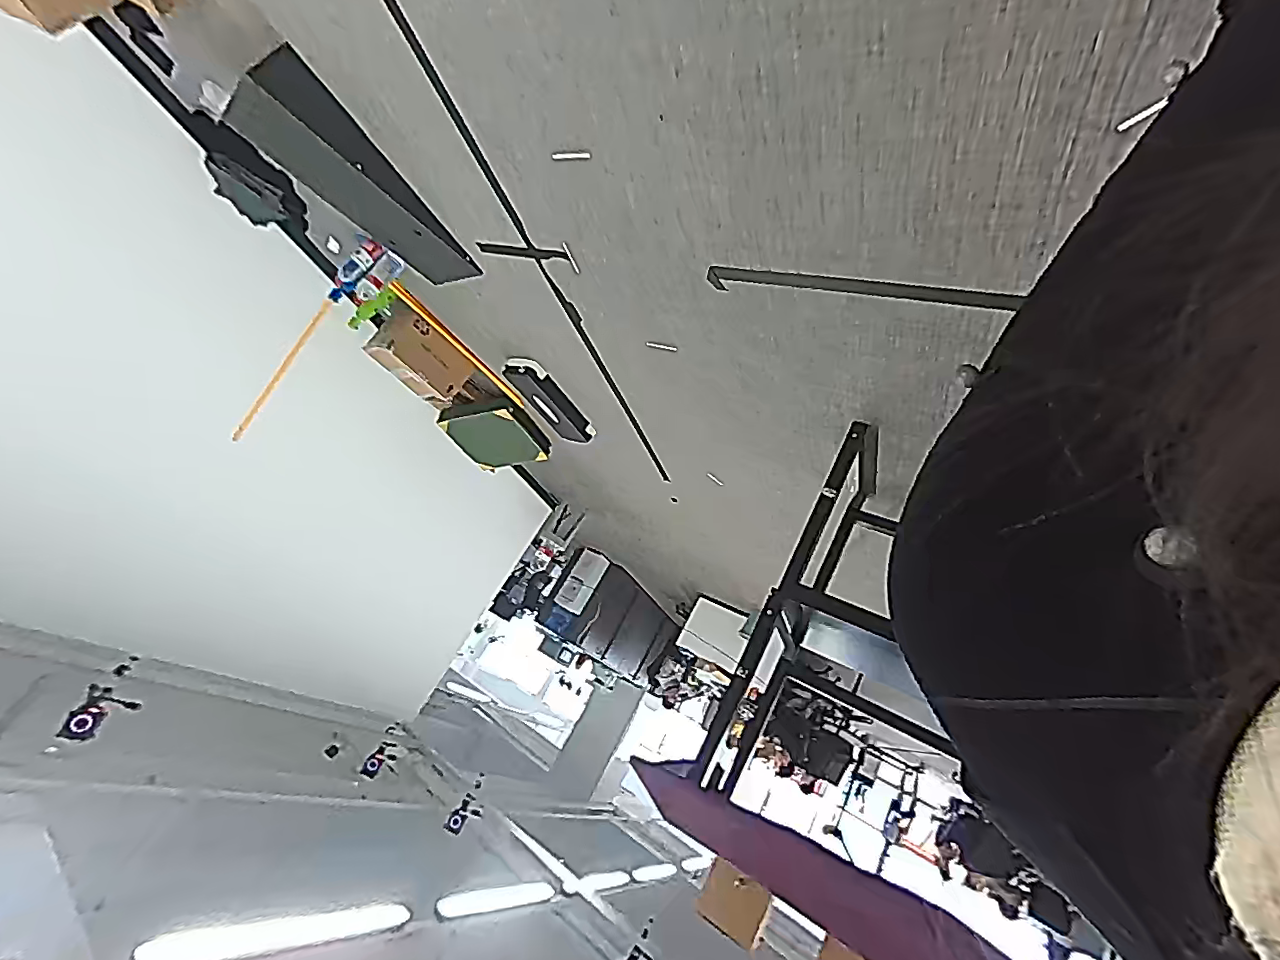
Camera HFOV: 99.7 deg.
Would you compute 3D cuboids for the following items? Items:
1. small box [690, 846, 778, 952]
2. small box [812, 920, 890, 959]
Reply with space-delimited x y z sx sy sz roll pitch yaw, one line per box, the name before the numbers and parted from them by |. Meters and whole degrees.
small box | 0.272 1.178 1.540 0.179 0.176 0.168 20 159 30
small box | 0.541 1.278 1.390 0.179 0.176 0.168 16 157 36
